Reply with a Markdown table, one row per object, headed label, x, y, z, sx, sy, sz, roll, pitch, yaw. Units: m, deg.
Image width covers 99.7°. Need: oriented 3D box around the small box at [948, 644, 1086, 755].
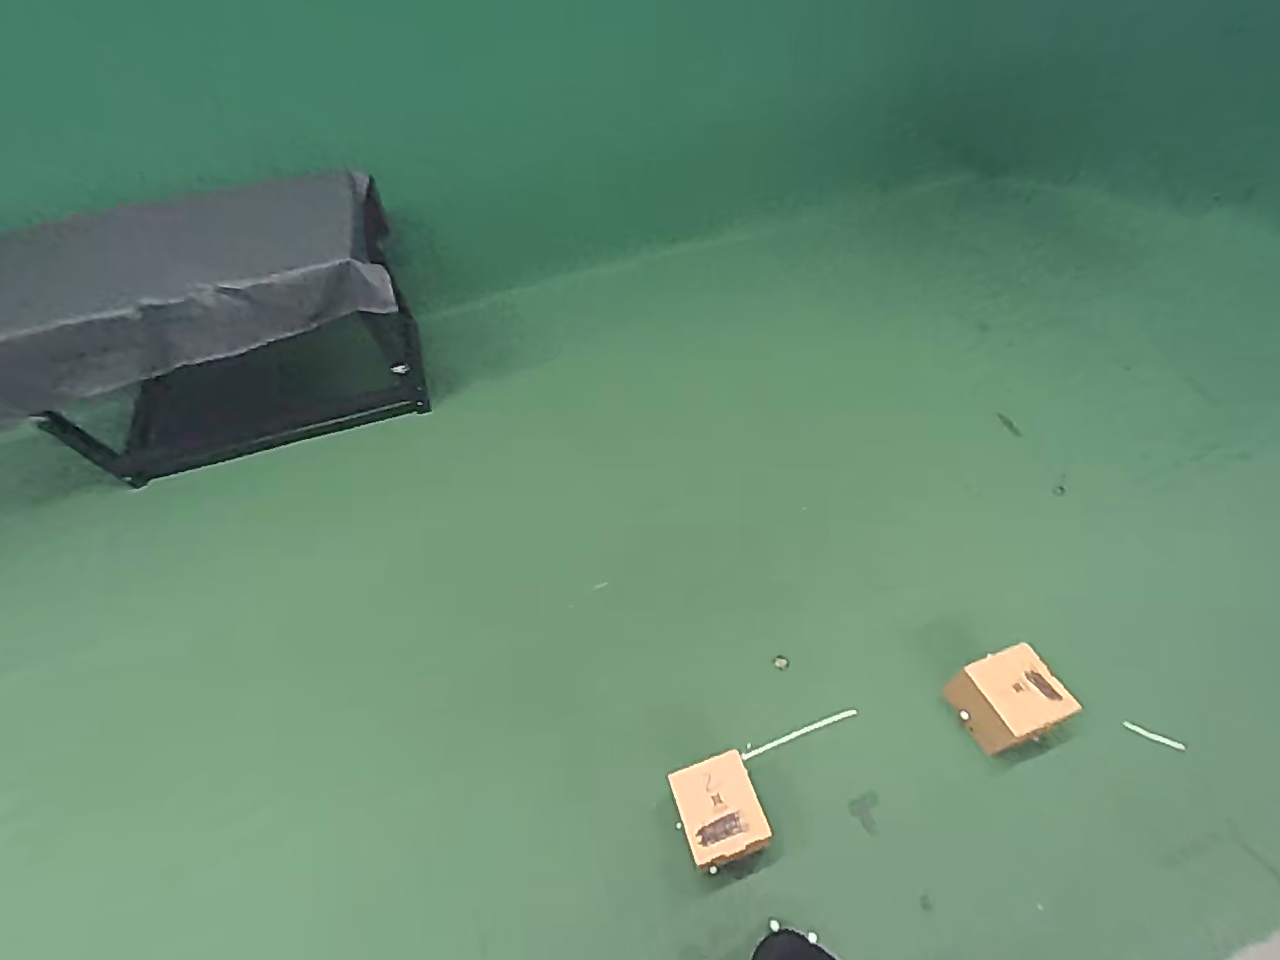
| label | x | y | z | sx | sy | sz | roll | pitch | yaw |
| --- | --- | --- | --- | --- | --- | --- | --- | --- | --- |
| small box | 0.871 | 0.518 | 1.270 | 0.179 | 0.176 | 0.168 | -18 | 50 | -7 |
